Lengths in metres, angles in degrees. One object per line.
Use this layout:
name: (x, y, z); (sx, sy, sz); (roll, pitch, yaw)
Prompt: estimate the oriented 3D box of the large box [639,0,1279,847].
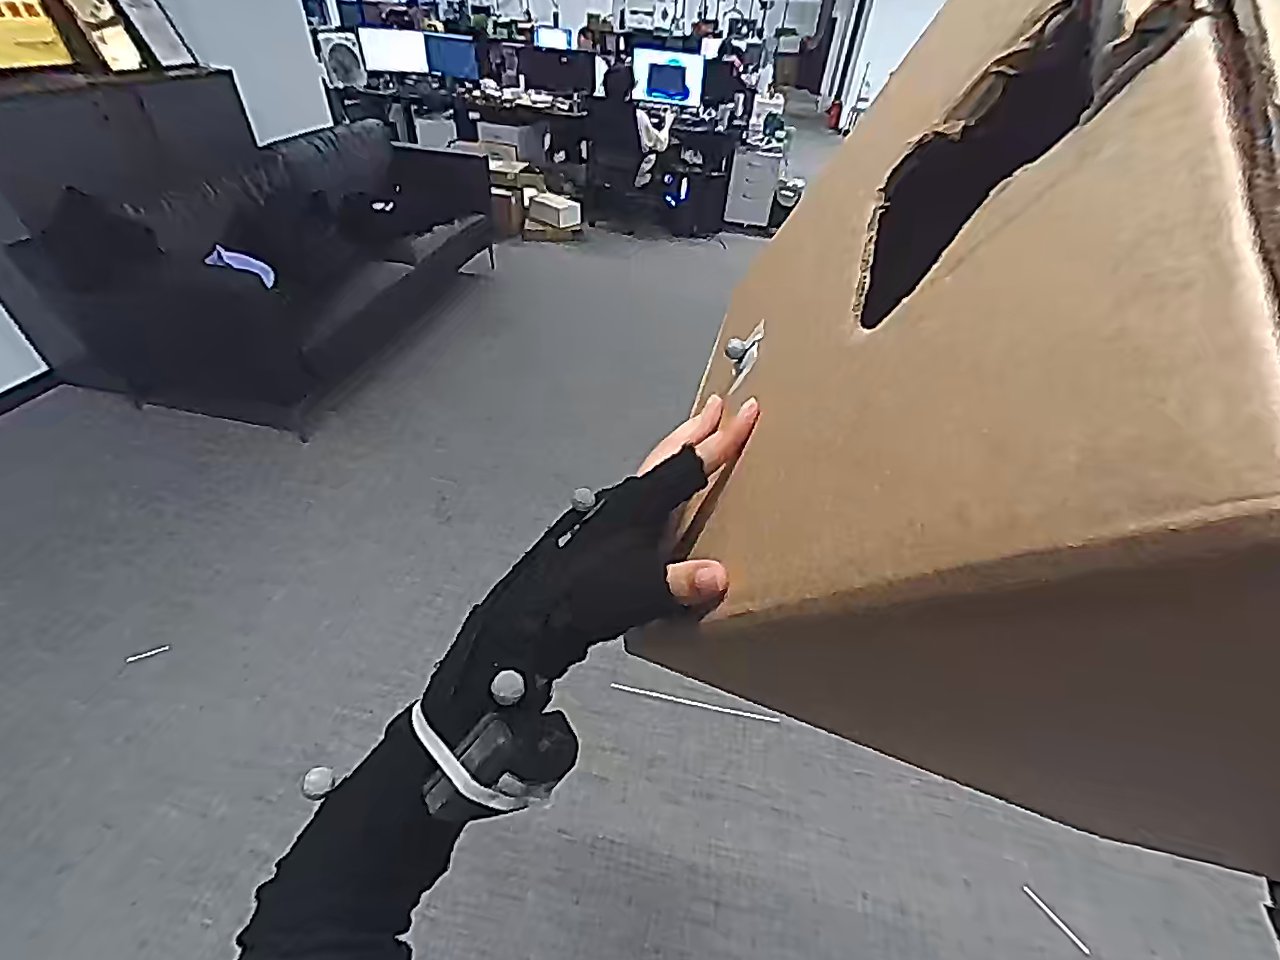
large box: (0.261, -0.001, 0.312); (0.408, 0.320, 0.320); (24, 67, -10)
